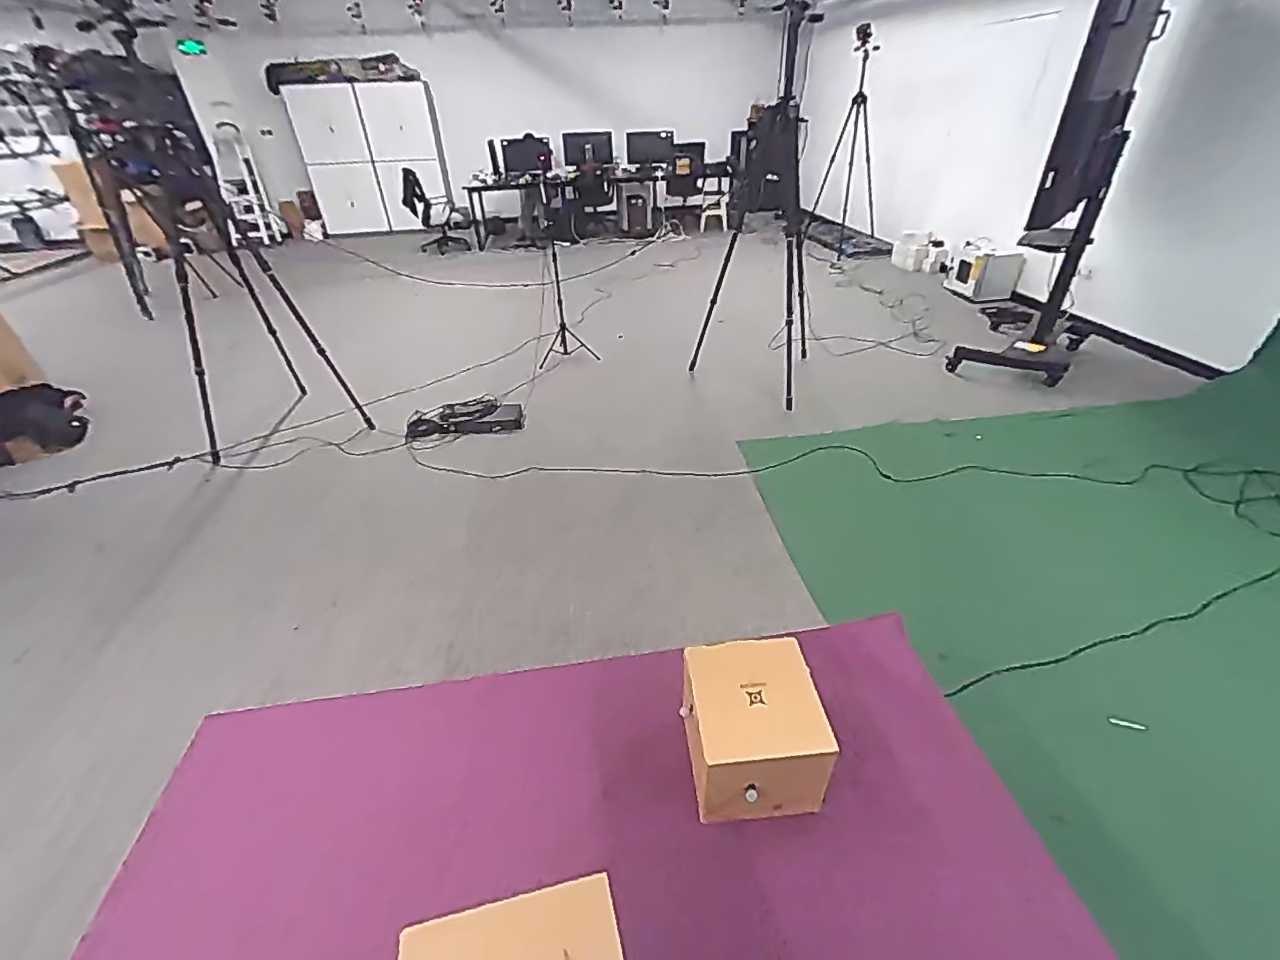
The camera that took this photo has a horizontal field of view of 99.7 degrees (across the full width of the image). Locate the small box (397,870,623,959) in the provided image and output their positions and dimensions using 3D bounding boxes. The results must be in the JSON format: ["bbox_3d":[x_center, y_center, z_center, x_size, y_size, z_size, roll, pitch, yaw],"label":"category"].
[{"bbox_3d":[-0.098,0.467,0.444,0.179,0.176,0.168,-5,35,-15],"label":"small box"}]

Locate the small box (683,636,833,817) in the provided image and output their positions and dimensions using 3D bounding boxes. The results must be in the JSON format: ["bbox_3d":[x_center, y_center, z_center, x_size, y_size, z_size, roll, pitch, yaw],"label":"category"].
[{"bbox_3d":[0.156,0.351,0.766,0.168,0.176,0.179,-5,34,-2],"label":"small box"}]
